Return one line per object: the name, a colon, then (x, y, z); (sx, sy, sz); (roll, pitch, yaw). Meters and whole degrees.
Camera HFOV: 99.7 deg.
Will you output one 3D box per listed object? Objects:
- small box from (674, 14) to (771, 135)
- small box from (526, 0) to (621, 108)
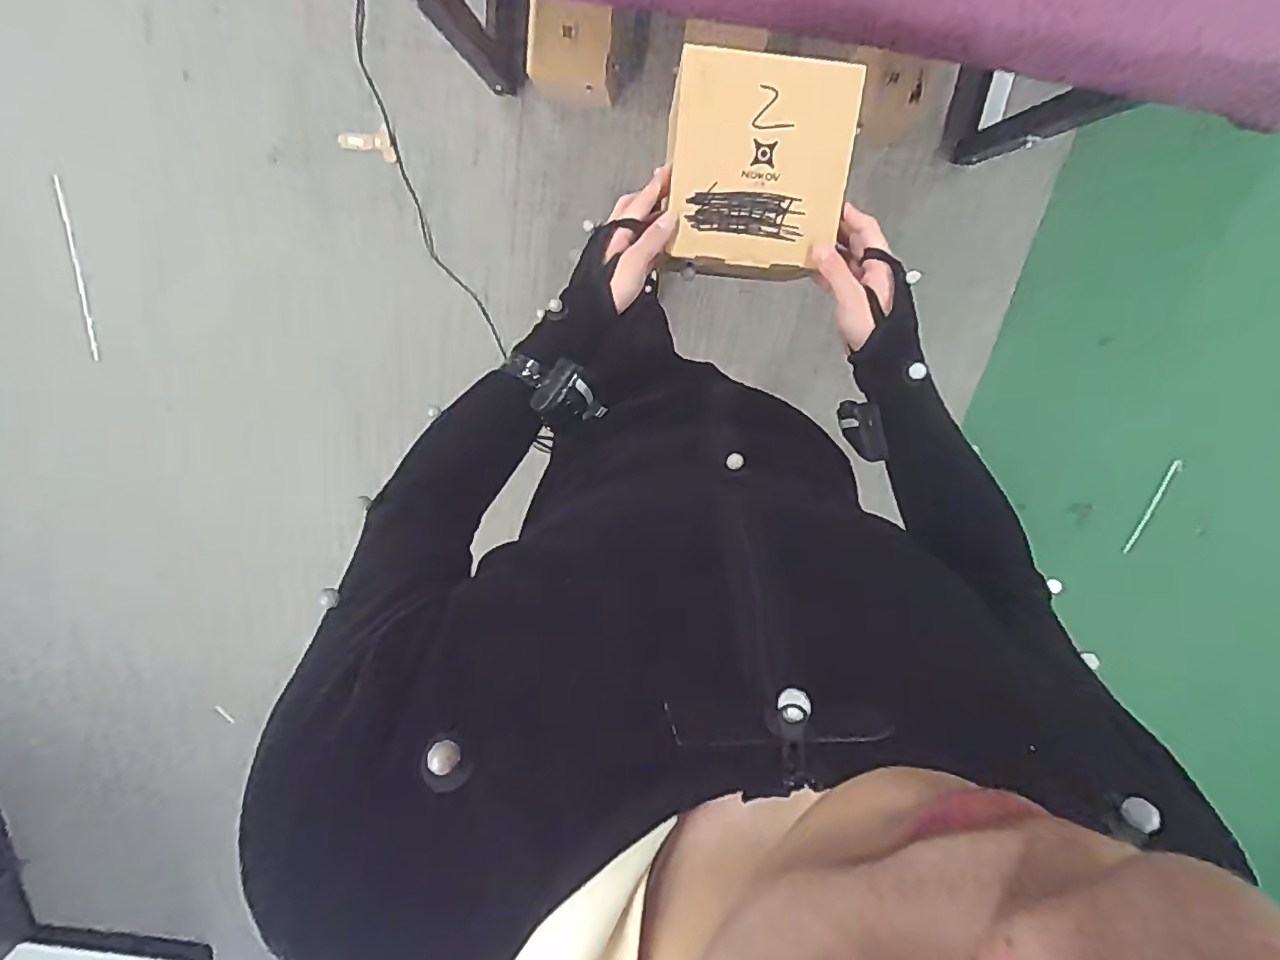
small box: (0.176, -0.896, 1.213); (0.179, 0.176, 0.168); (9, 110, 0)
small box: (-0.143, -0.957, 1.205); (0.179, 0.176, 0.168); (8, 111, -1)
